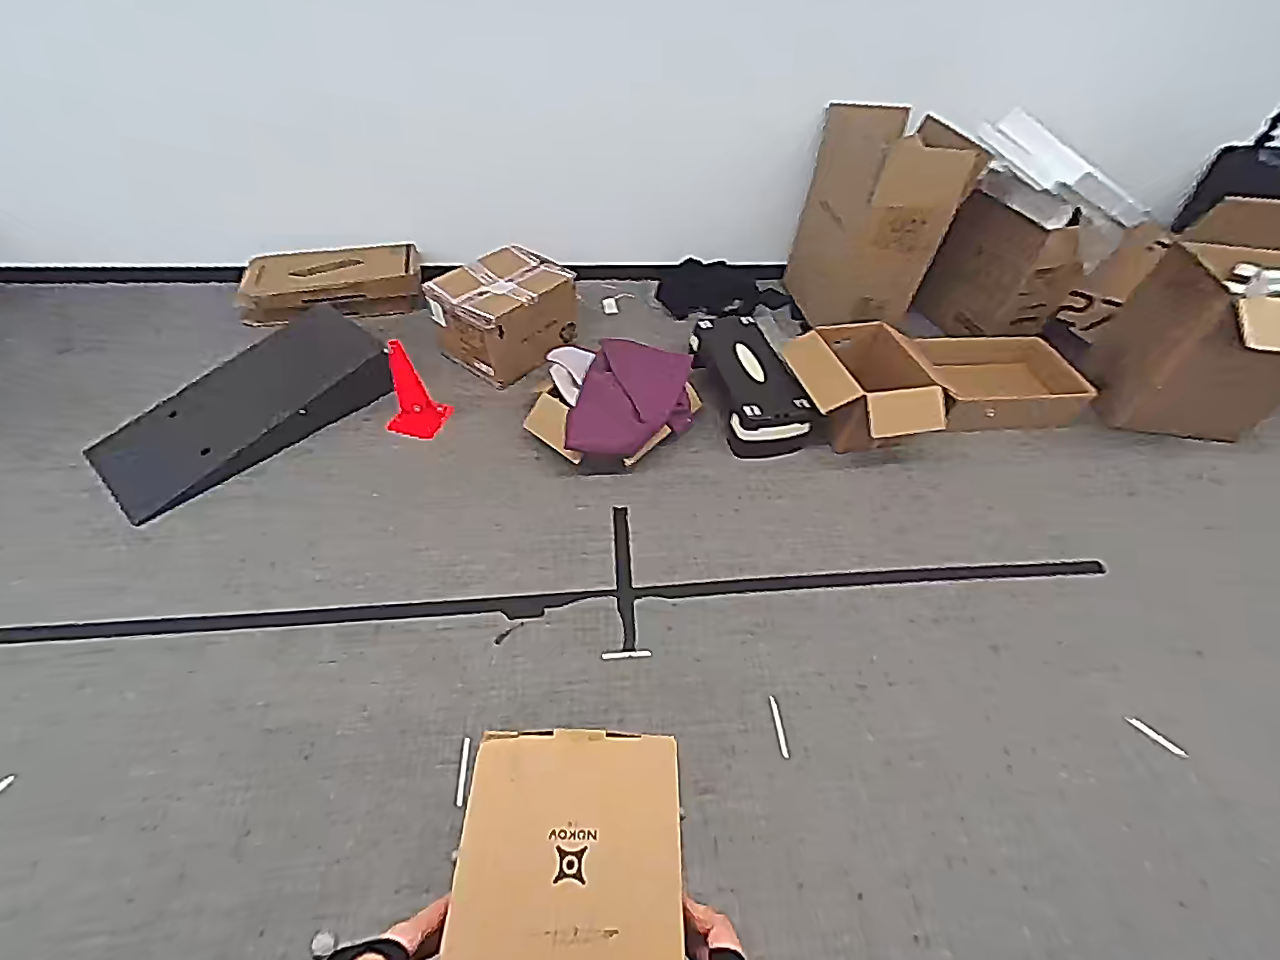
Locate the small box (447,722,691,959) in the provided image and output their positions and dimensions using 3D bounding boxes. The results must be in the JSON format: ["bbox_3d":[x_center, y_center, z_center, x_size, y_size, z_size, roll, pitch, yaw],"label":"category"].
[{"bbox_3d":[-0.053,0.327,0.463,0.168,0.176,0.179,2,48,-3],"label":"small box"}]
